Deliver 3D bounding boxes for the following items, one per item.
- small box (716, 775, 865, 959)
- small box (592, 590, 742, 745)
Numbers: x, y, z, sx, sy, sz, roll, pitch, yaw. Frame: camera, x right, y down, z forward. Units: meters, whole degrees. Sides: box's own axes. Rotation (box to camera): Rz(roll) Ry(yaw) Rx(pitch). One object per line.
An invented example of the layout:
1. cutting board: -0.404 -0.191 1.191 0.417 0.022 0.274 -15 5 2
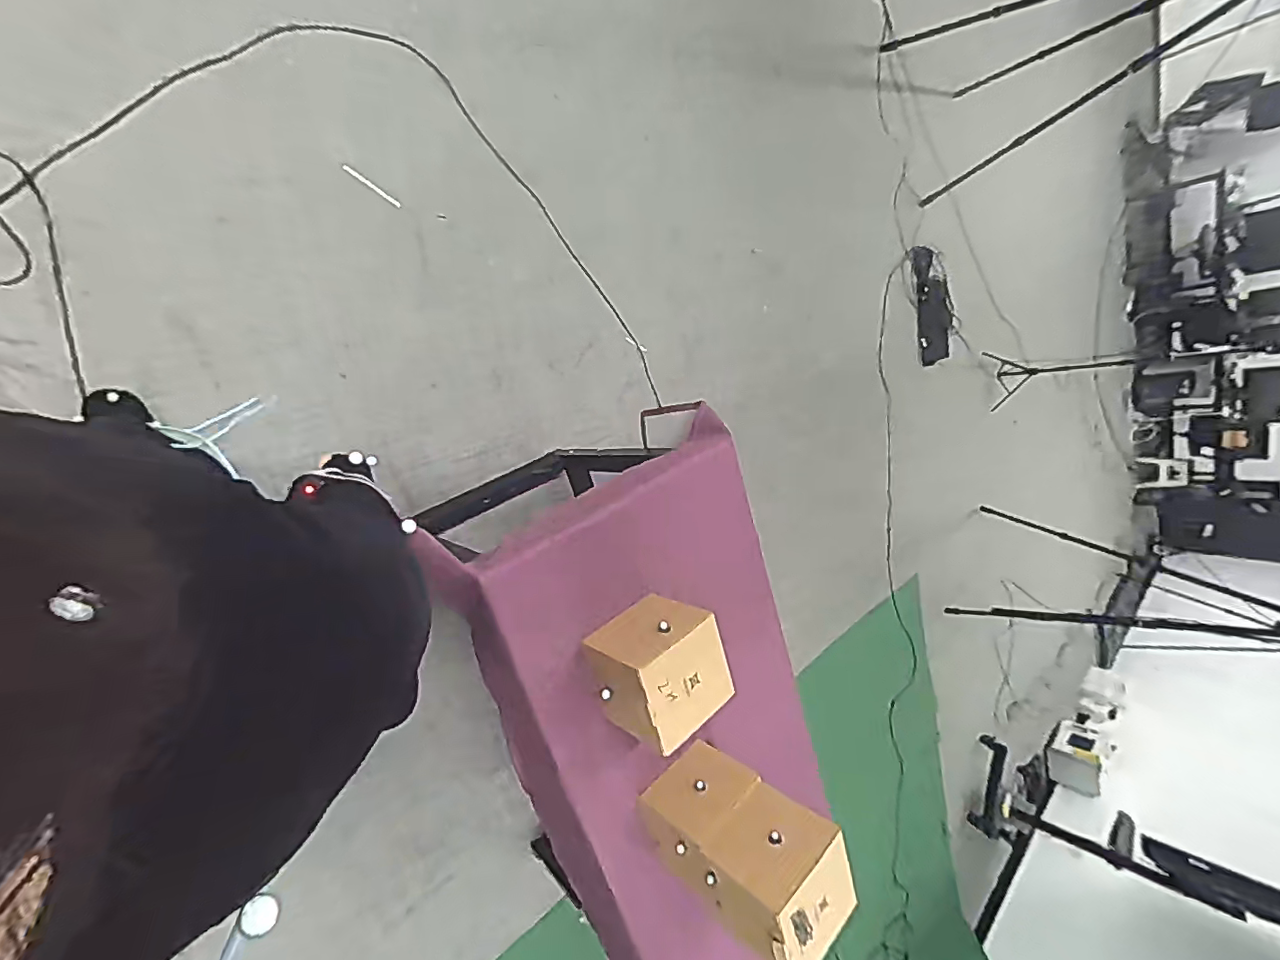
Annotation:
1. small box: 0.247 0.648 0.911 0.179 0.176 0.168 -27 108 -35
2. small box: 0.046 0.312 0.945 0.179 0.176 0.168 -27 108 -33
